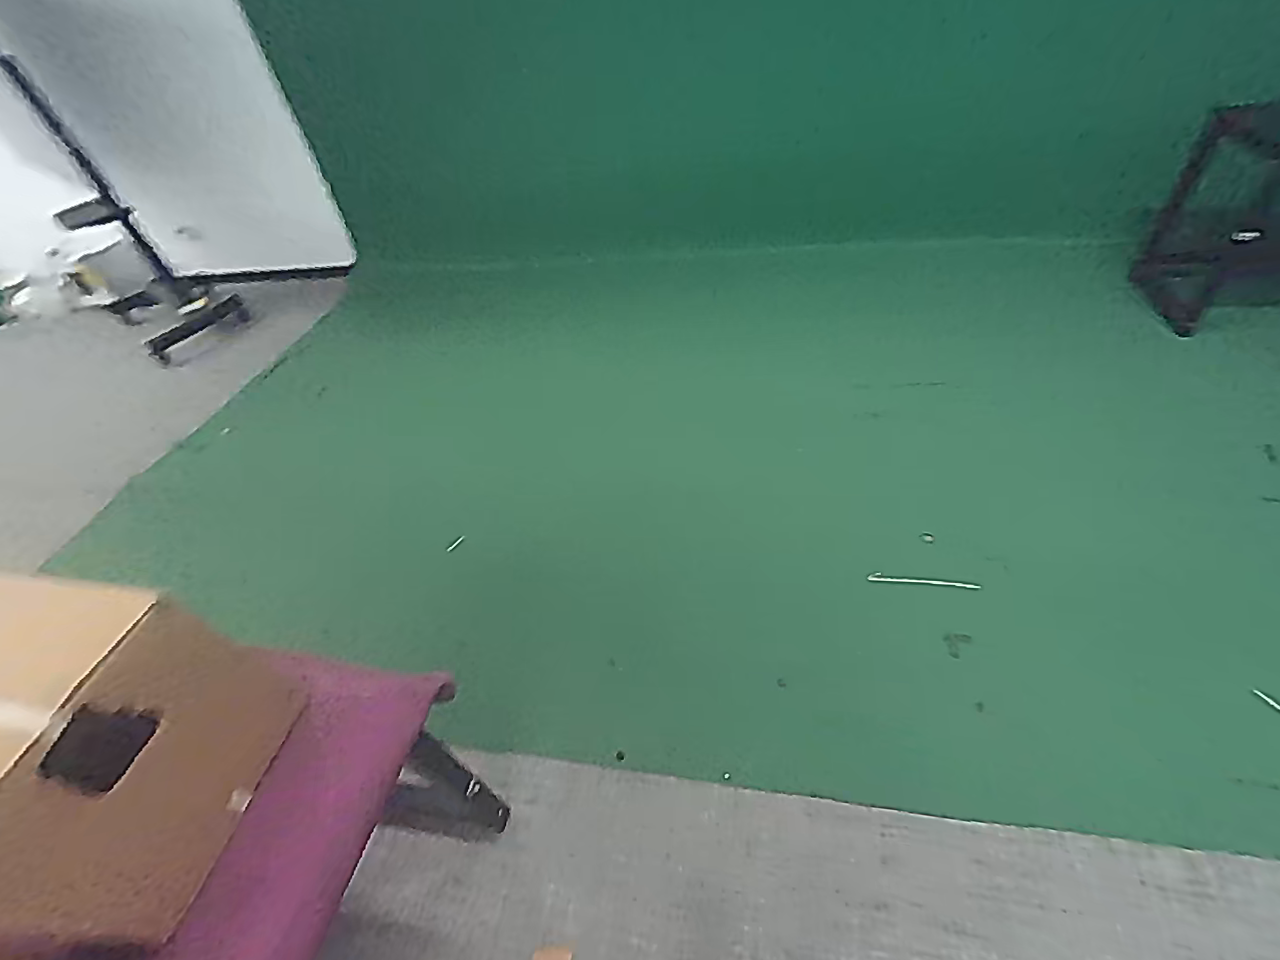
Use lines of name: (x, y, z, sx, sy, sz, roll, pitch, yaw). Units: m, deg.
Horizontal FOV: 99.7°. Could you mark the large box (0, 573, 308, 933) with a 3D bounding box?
large box: (-0.759, 0.339, 0.696, 0.408, 0.320, 0.320, 3, 48, 11)
